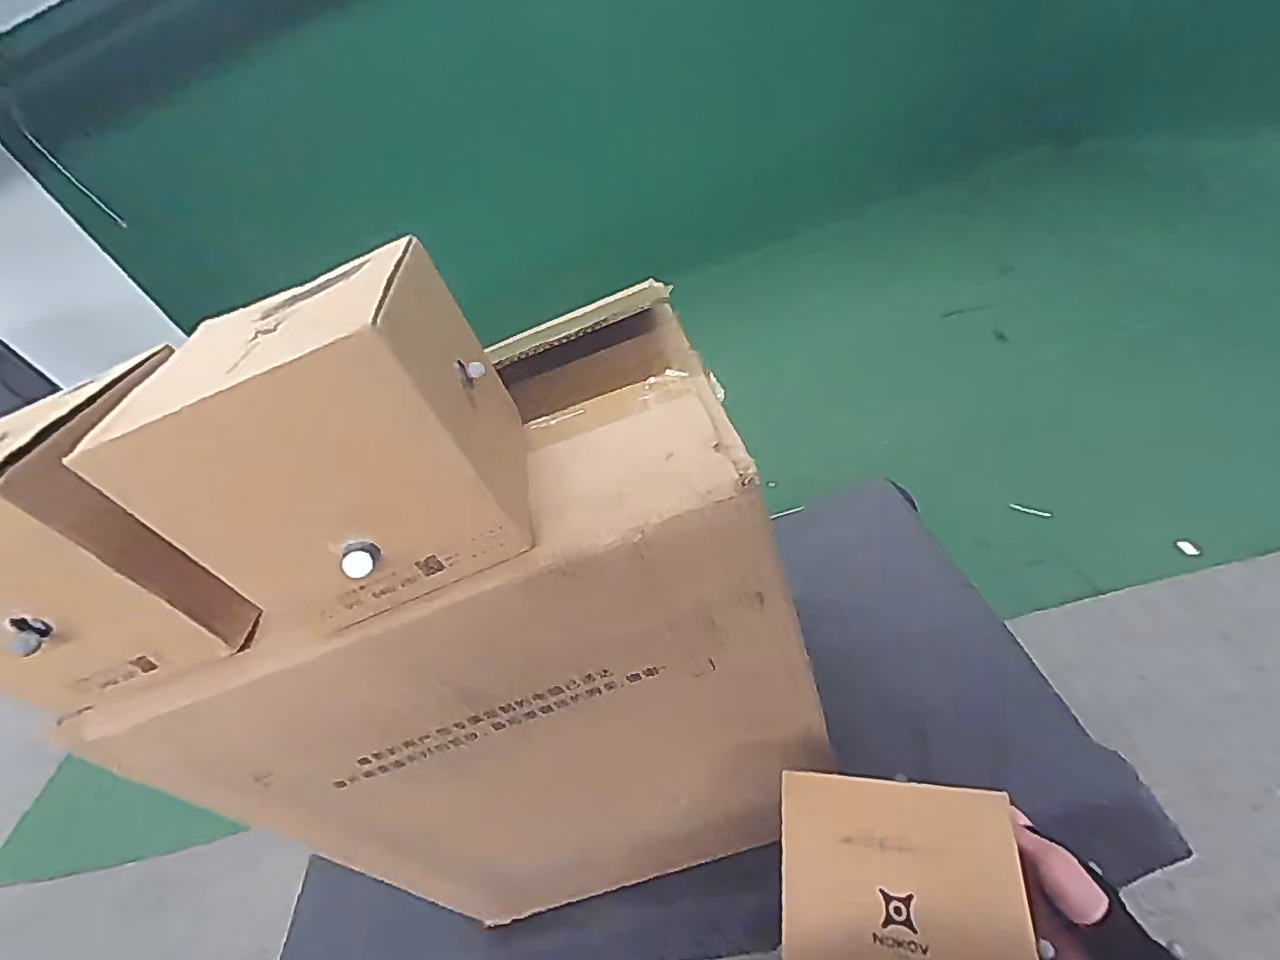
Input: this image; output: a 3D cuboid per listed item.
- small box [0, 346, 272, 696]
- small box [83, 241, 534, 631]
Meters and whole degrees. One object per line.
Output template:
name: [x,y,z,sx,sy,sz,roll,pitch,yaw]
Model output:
small box: [-0.386,0.037,0.401,0.168,0.176,0.179,-20,39,7]
small box: [-0.185,-0.032,0.370,0.168,0.176,0.179,-22,40,2]
